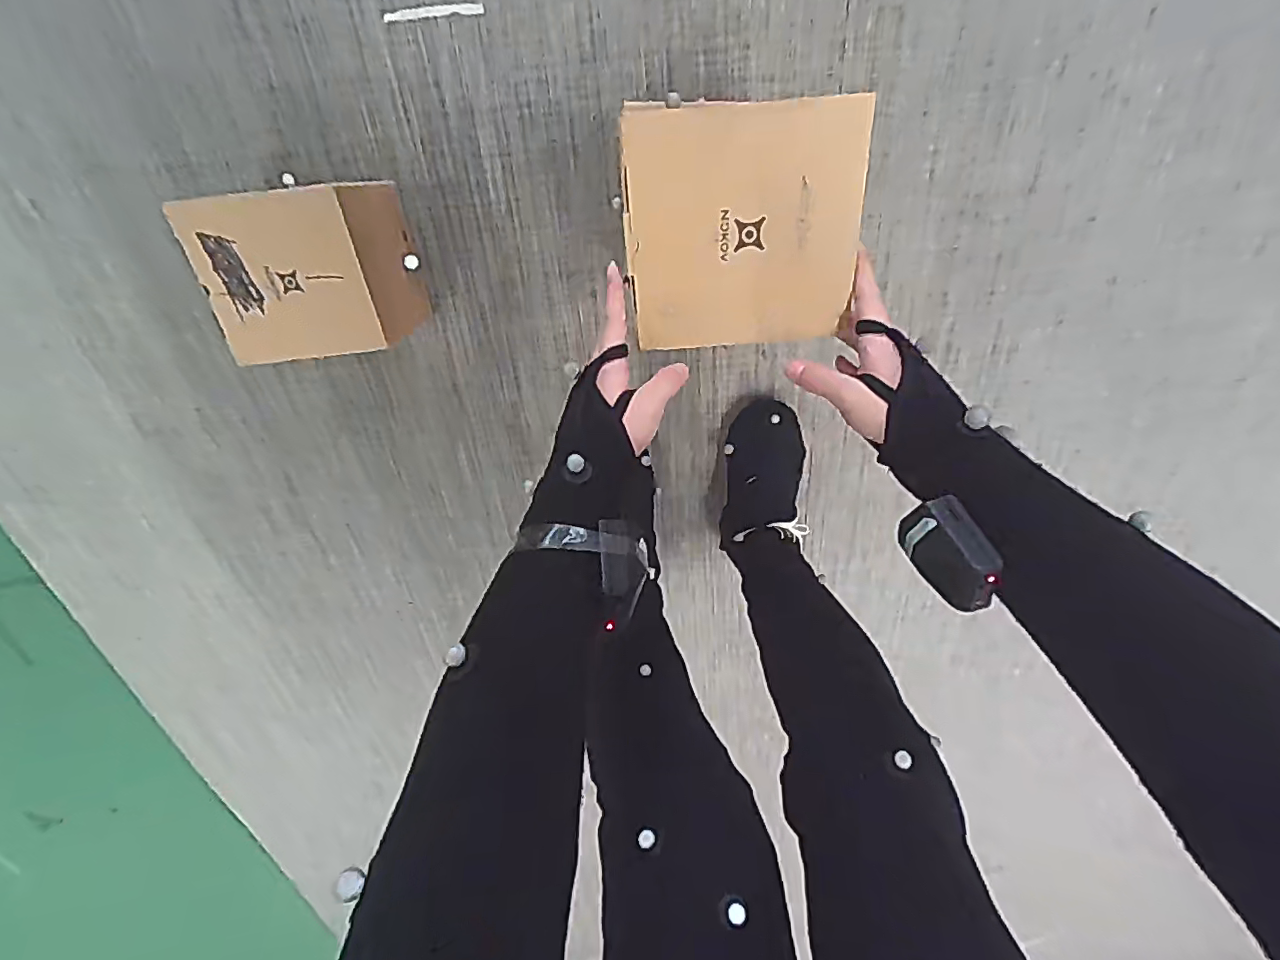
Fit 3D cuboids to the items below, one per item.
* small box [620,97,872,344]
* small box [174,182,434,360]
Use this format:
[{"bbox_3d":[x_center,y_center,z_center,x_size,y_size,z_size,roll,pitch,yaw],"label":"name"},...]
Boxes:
[{"bbox_3d":[0.076,-0.226,0.480,0.179,0.176,0.168,-4,119,0],"label":"small box"},{"bbox_3d":[-0.372,-0.251,0.640,0.179,0.176,0.168,-6,119,0],"label":"small box"}]
